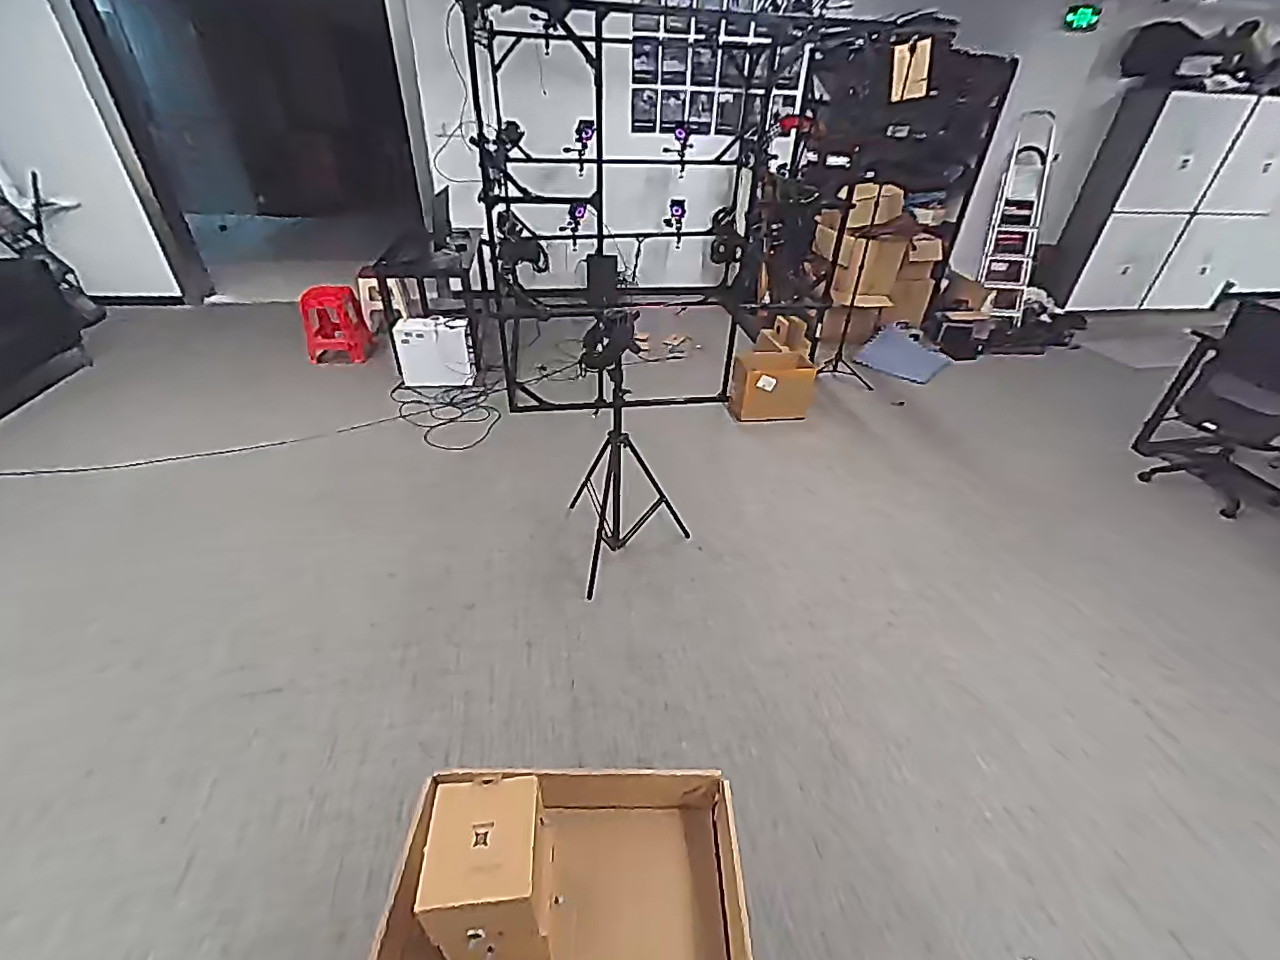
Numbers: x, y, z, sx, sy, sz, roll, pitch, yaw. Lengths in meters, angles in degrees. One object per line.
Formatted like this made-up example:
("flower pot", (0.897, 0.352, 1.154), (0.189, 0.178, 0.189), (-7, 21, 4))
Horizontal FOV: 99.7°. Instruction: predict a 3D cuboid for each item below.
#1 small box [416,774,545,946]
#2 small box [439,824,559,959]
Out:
("small box", (-0.246, 0.615, 0.882), (0.168, 0.176, 0.179), (-2, 35, -6))
("small box", (-0.242, 0.750, 0.975), (0.179, 0.176, 0.168), (0, 35, -5))
